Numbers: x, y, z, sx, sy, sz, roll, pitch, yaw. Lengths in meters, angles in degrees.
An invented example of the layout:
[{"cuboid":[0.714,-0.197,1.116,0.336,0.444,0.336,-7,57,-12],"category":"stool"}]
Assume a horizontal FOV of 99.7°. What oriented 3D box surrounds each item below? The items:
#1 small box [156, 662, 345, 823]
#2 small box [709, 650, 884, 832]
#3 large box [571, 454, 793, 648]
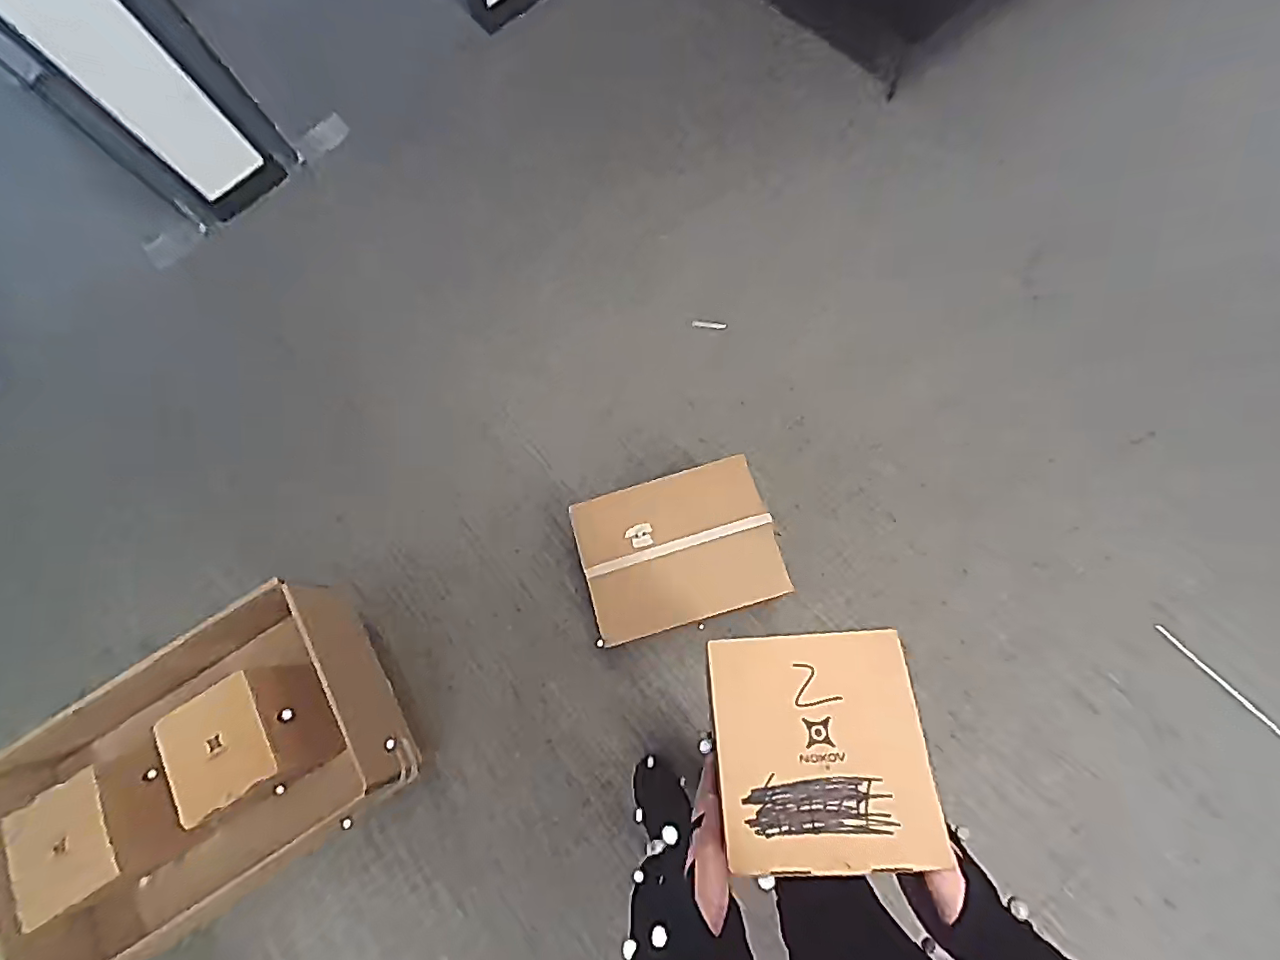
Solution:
[{"cuboid":[-0.646,0.426,0.914,0.168,0.176,0.179,-32,75,-3],"category":"small box"},{"cuboid":[0.173,0.312,0.659,0.168,0.176,0.179,-4,63,4],"category":"small box"},{"cuboid":[0.096,0.178,1.272,0.408,0.320,0.320,-17,73,2],"category":"large box"}]
